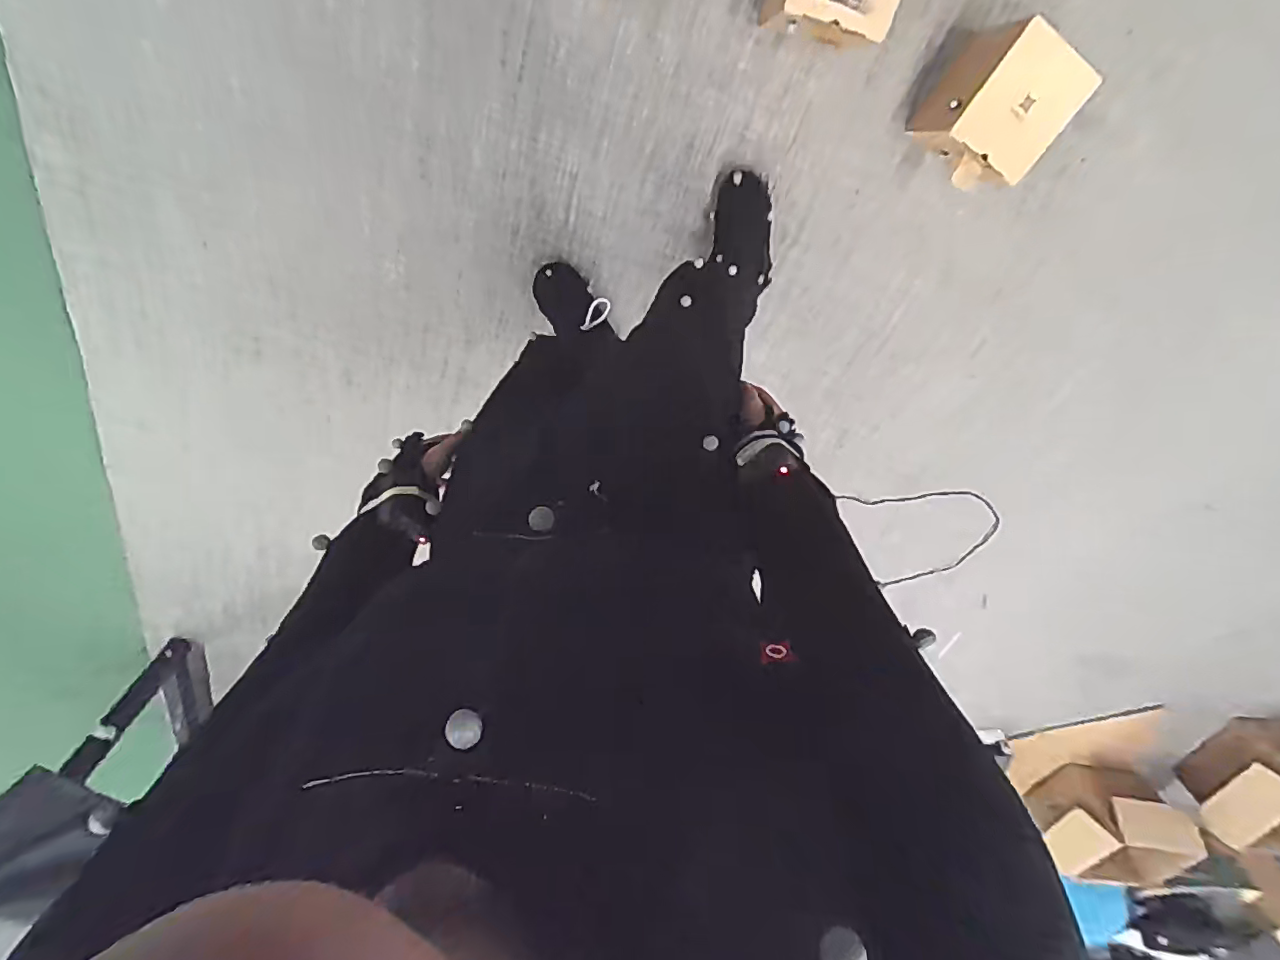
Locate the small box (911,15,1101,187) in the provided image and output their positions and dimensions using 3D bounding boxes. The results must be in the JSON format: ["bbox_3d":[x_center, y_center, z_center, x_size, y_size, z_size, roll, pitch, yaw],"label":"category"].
[{"bbox_3d":[0.613,-0.641,0.931,0.168,0.176,0.179,24,119,-17],"label":"small box"}]
